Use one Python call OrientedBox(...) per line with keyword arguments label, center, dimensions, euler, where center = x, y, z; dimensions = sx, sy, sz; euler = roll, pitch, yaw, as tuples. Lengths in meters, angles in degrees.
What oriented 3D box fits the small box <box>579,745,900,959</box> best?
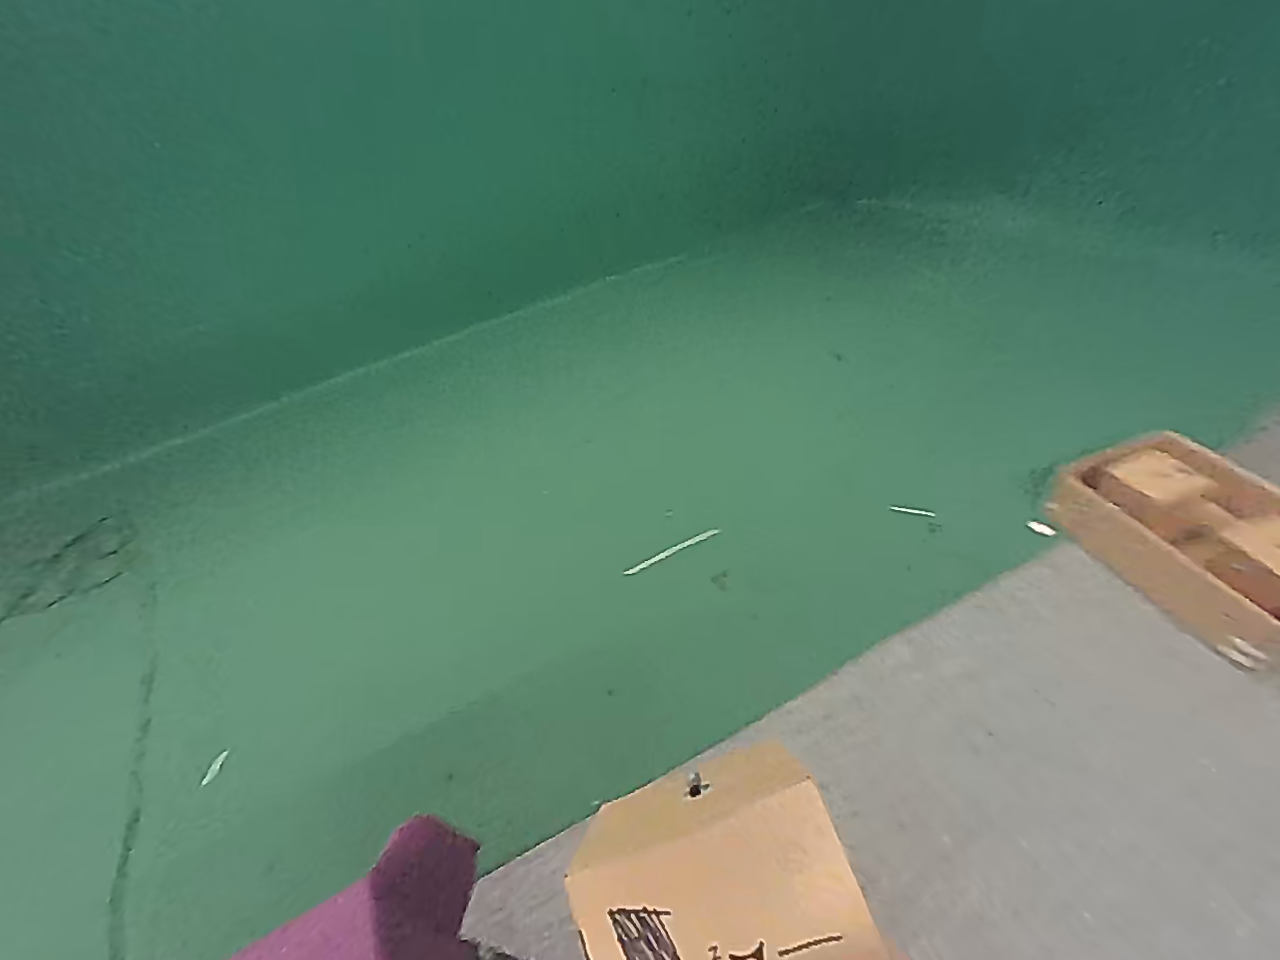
OrientedBox(label="small box", center=(0.074, 0.319, 0.400), dimensions=(0.179, 0.176, 0.168), euler=(-20, 72, -2))
